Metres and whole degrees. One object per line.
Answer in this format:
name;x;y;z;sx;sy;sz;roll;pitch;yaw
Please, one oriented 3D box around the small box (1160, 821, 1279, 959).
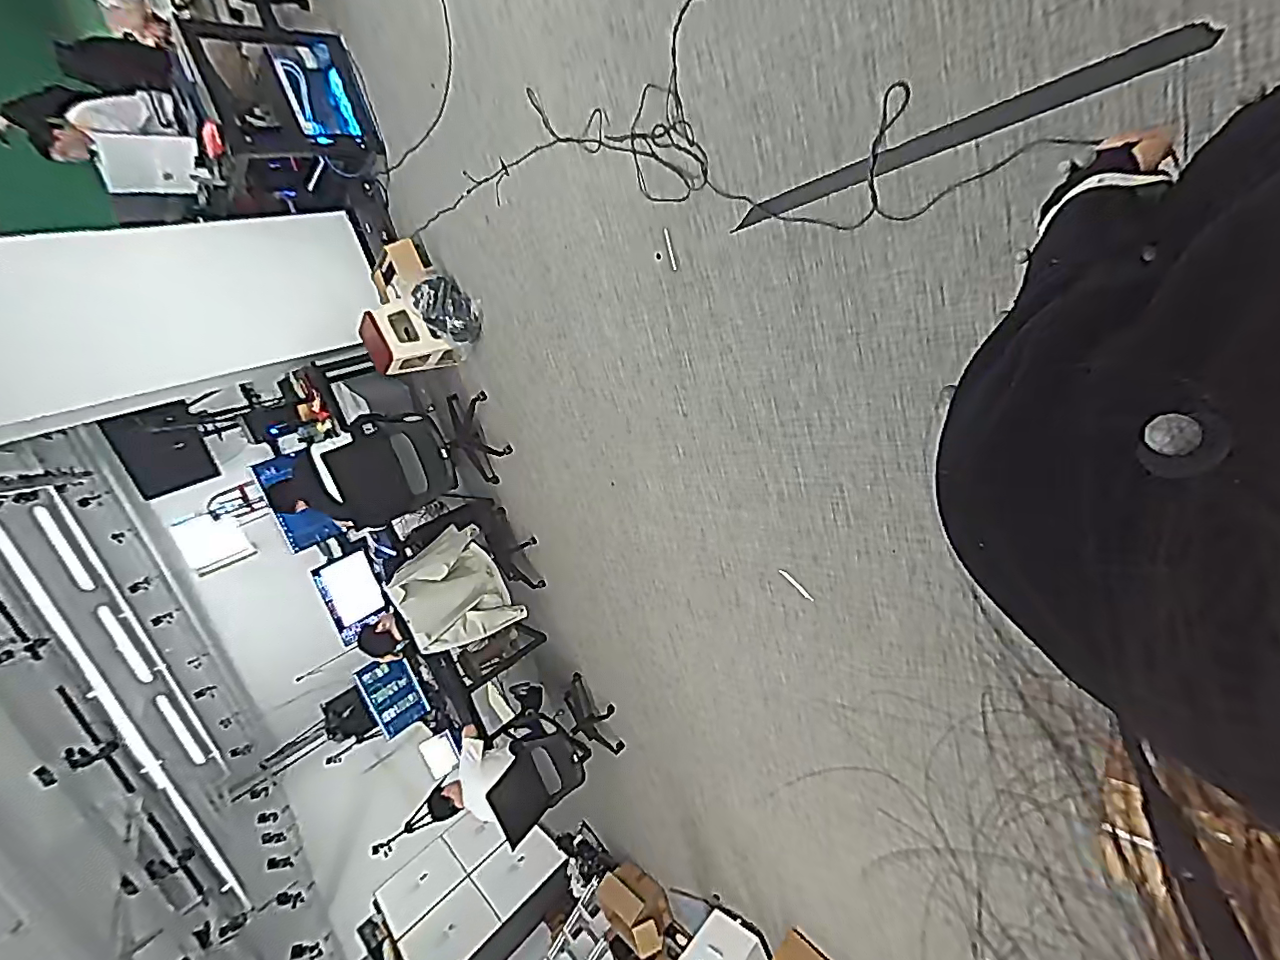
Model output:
small box;1.160;0.827;1.070;0.179;0.176;0.168;2;113;50
